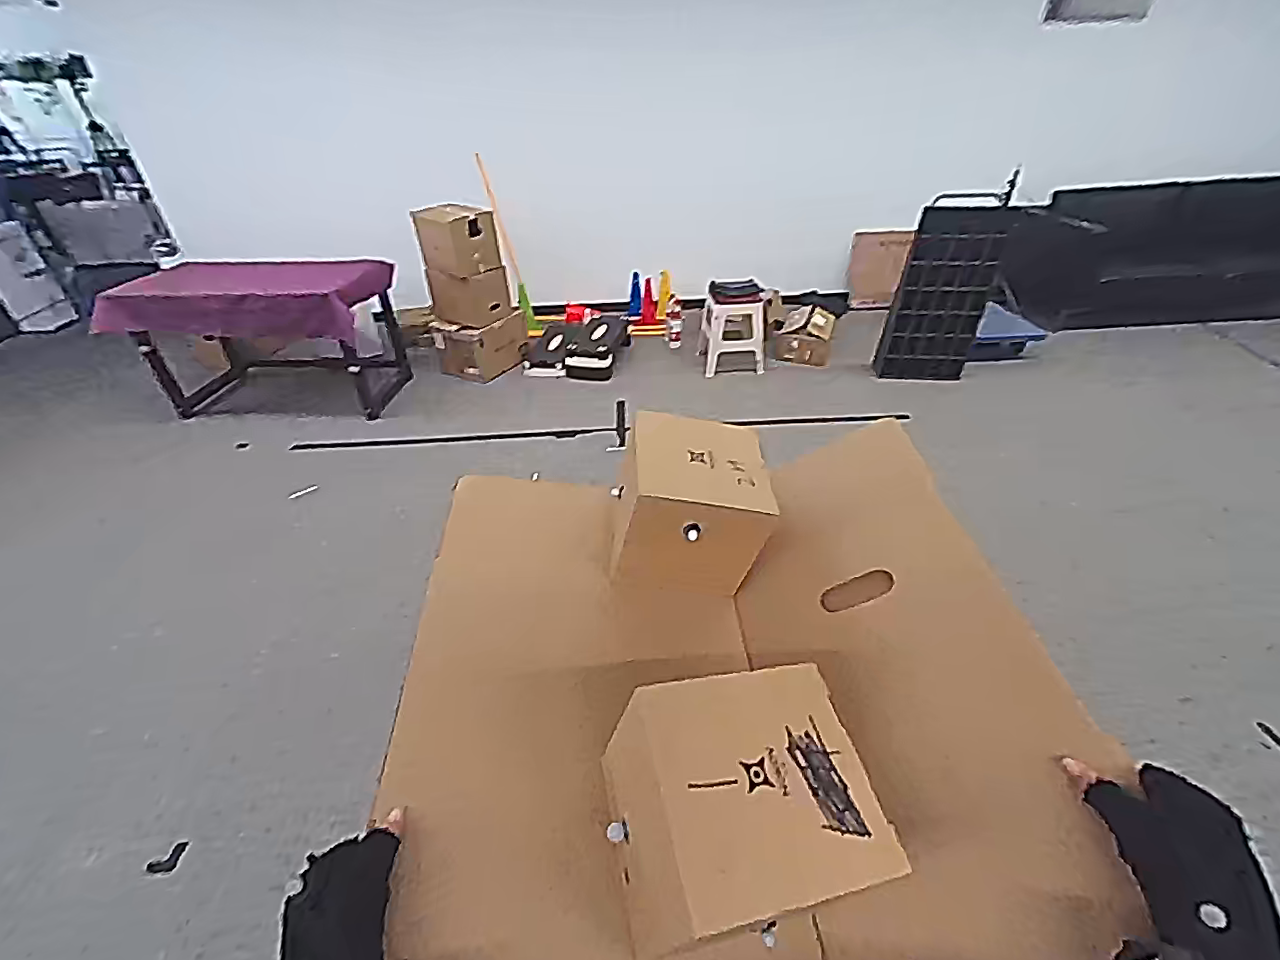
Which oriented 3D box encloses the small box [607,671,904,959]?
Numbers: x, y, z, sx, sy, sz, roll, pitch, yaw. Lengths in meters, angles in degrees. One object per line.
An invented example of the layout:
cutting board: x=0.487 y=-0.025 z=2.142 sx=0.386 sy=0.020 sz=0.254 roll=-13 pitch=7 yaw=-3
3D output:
small box: x=0.081 y=0.292 z=0.480 sx=0.179 sy=0.176 sz=0.168 roll=0 pitch=45 yaw=-18

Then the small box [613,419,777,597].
small box: x=0.062 y=0.042 z=0.742 sx=0.179 sy=0.176 sz=0.168 roll=9 pitch=42 yaw=-10
